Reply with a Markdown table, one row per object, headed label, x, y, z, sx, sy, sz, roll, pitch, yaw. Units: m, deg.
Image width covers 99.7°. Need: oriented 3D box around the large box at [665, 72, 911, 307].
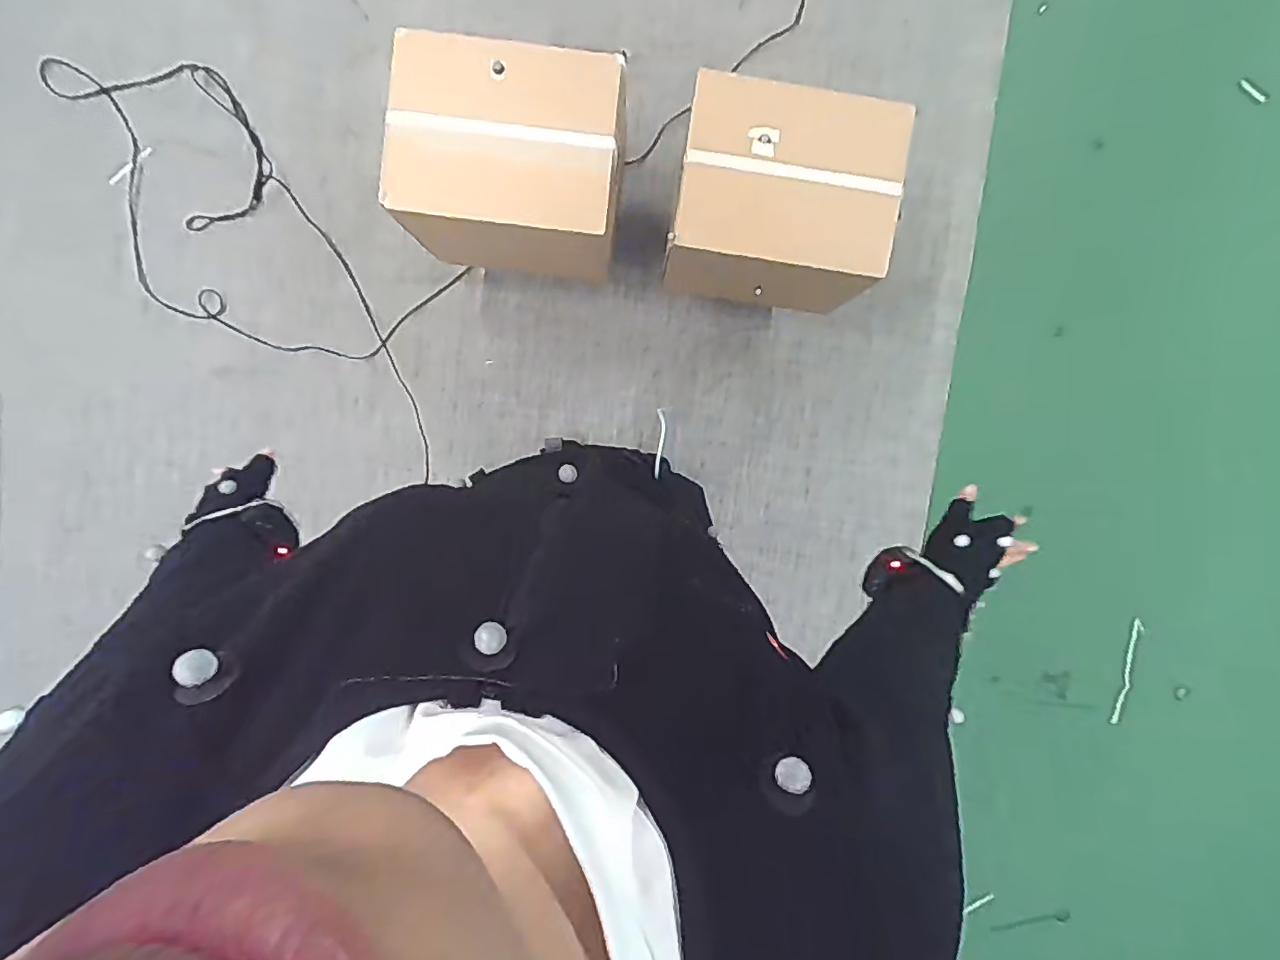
| label | x | y | z | sx | sy | sz | roll | pitch | yaw |
| --- | --- | --- | --- | --- | --- | --- | --- | --- | --- |
| large box | 0.280 | -0.577 | 1.144 | 0.408 | 0.320 | 0.320 | 9 | 95 | -2 |
